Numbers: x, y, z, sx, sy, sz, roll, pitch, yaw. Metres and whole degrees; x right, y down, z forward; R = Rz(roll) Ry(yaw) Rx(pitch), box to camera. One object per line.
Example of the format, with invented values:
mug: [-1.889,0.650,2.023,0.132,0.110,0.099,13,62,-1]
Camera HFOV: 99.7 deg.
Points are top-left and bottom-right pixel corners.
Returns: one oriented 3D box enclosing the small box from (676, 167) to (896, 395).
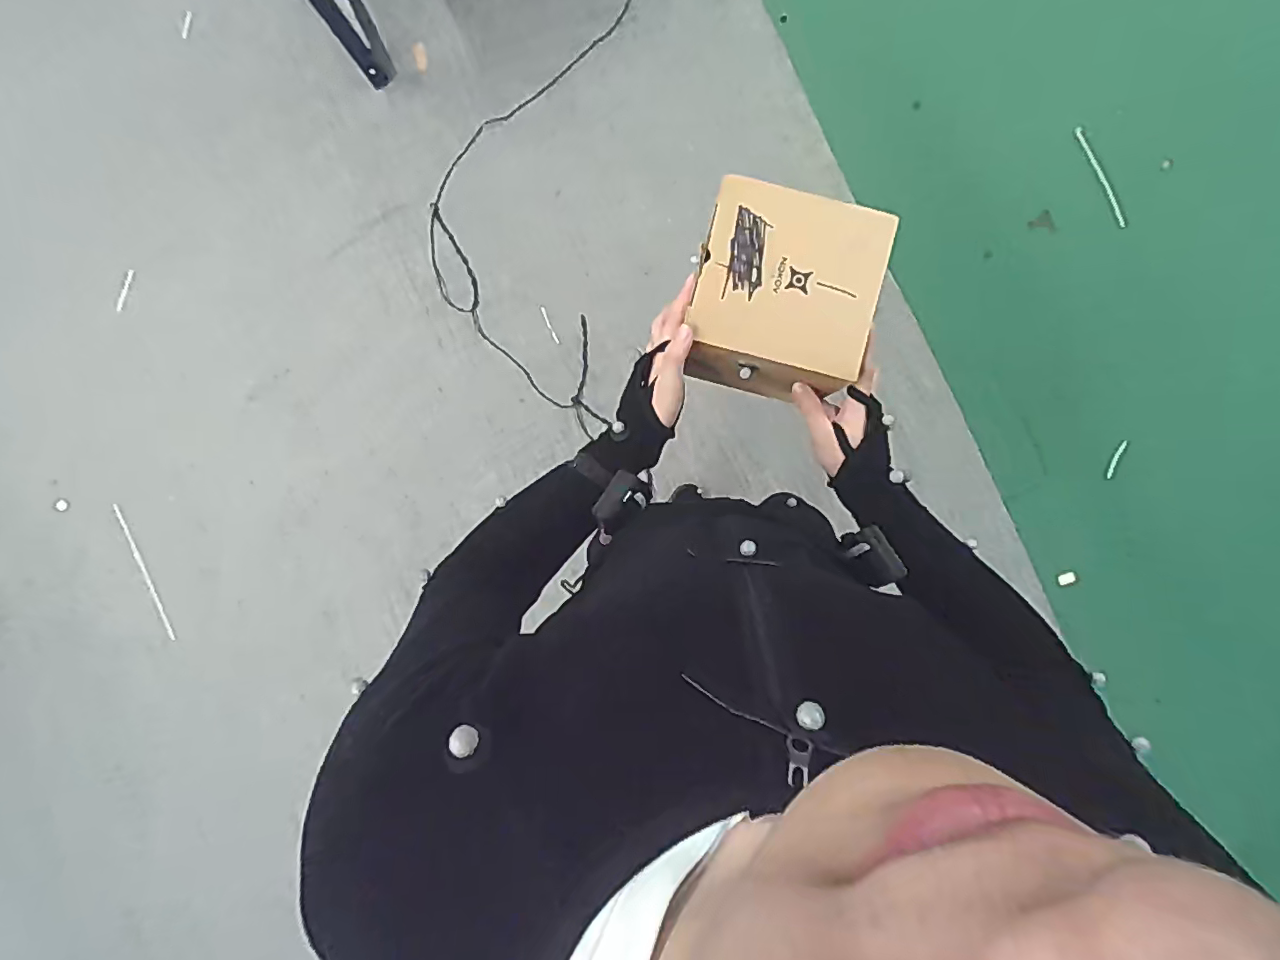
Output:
small box: [0.142,-0.200,0.594,0.179,0.176,0.168,14,89,0]
